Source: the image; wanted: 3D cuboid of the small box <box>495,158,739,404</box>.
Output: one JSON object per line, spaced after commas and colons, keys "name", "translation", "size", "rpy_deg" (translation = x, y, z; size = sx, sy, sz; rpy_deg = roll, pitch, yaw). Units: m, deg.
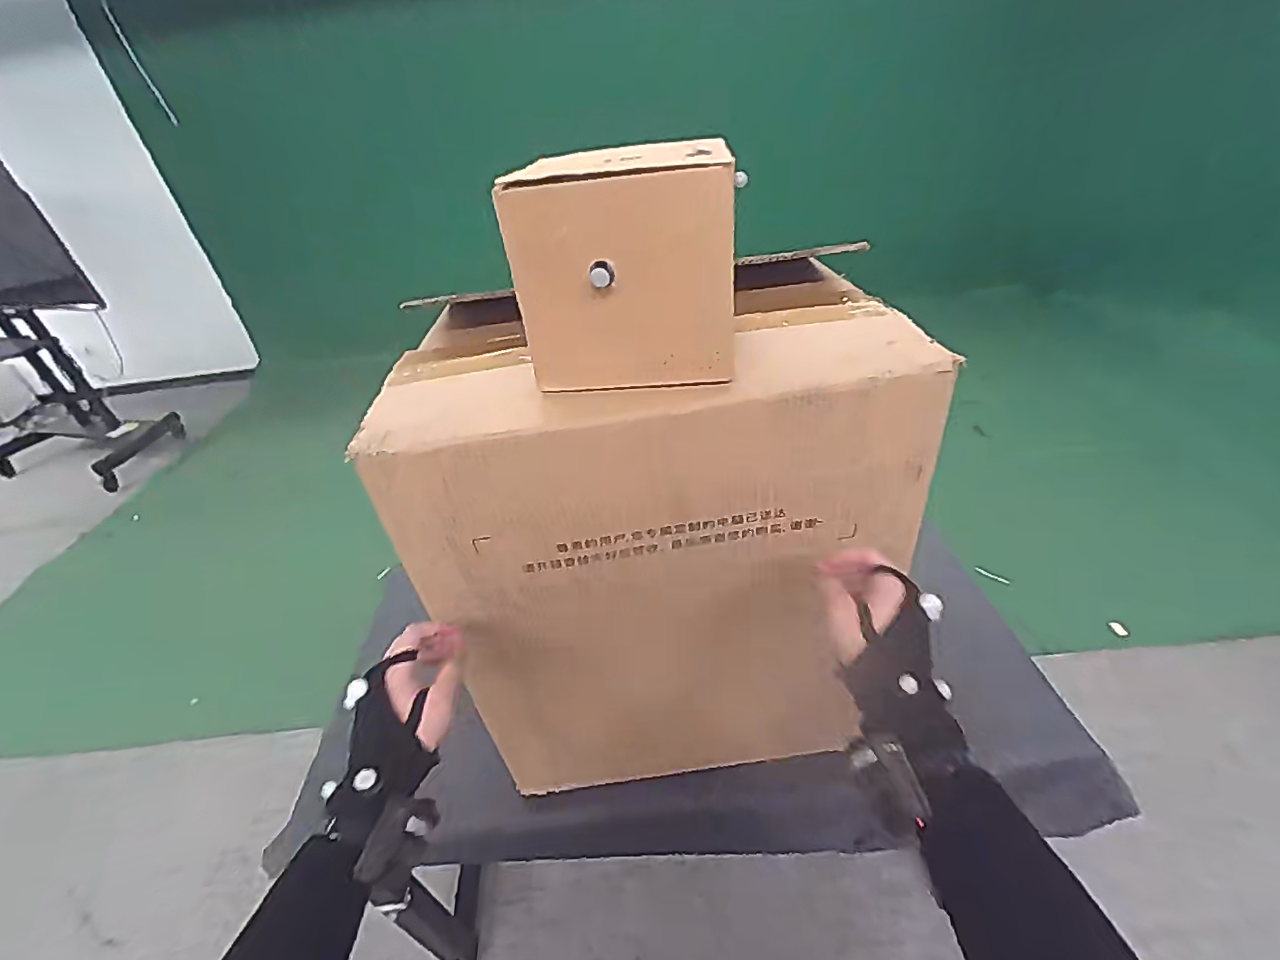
{"name": "small box", "translation": [-0.006, -0.180, 0.495], "size": [0.179, 0.176, 0.168], "rpy_deg": [-4, 36, 7]}
